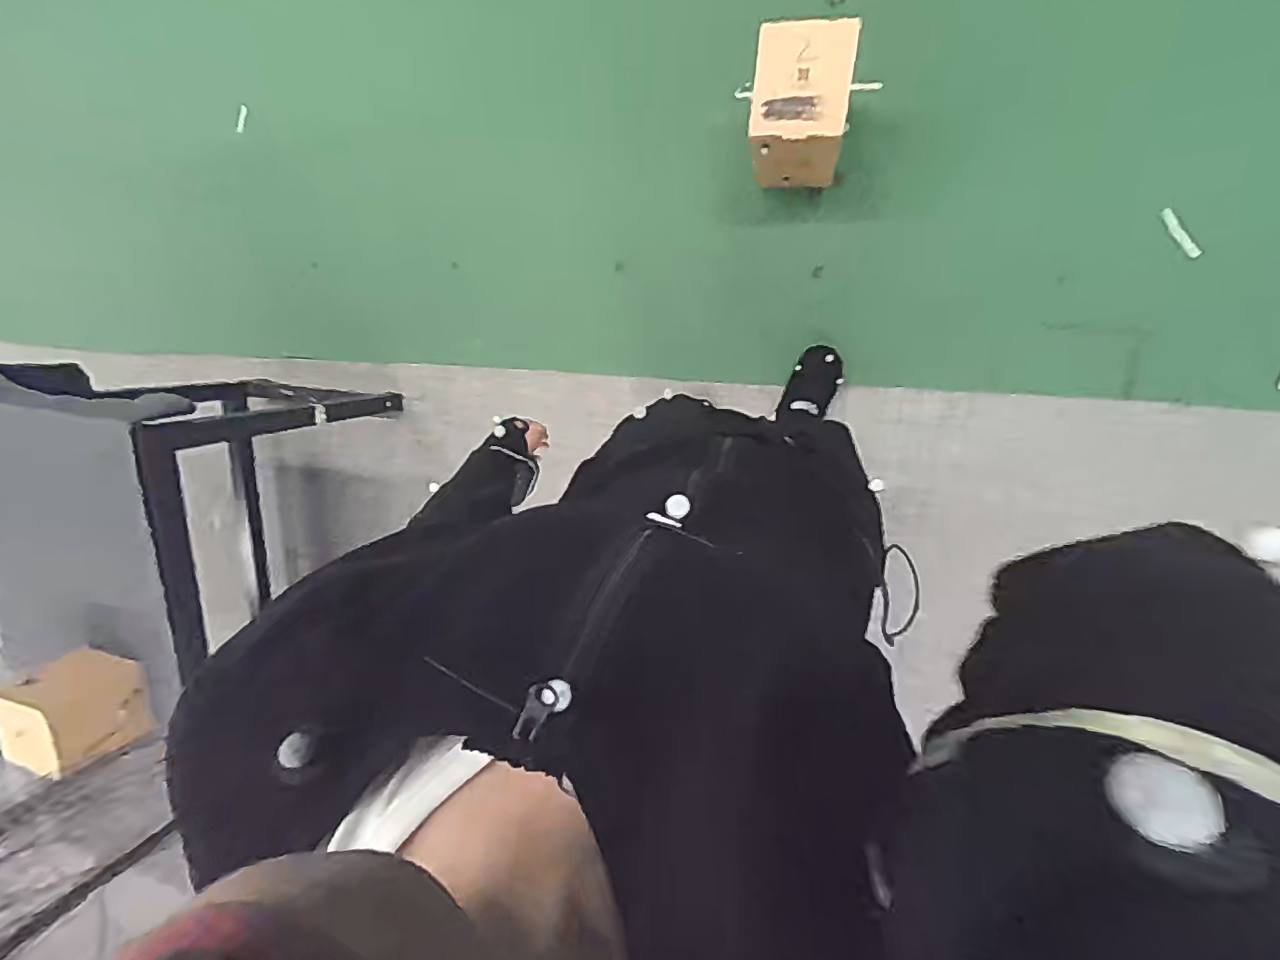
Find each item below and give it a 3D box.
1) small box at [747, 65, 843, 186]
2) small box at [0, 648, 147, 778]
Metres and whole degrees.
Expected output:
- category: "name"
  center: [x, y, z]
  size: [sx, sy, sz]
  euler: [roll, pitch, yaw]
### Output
- category: "small box"
  center: [0.329, -0.755, 1.165]
  size: [0.168, 0.176, 0.179]
  euler: [9, 107, 13]
- category: "small box"
  center: [-1.198, 0.477, 1.133]
  size: [0.179, 0.176, 0.168]
  euler: [7, 107, 14]
